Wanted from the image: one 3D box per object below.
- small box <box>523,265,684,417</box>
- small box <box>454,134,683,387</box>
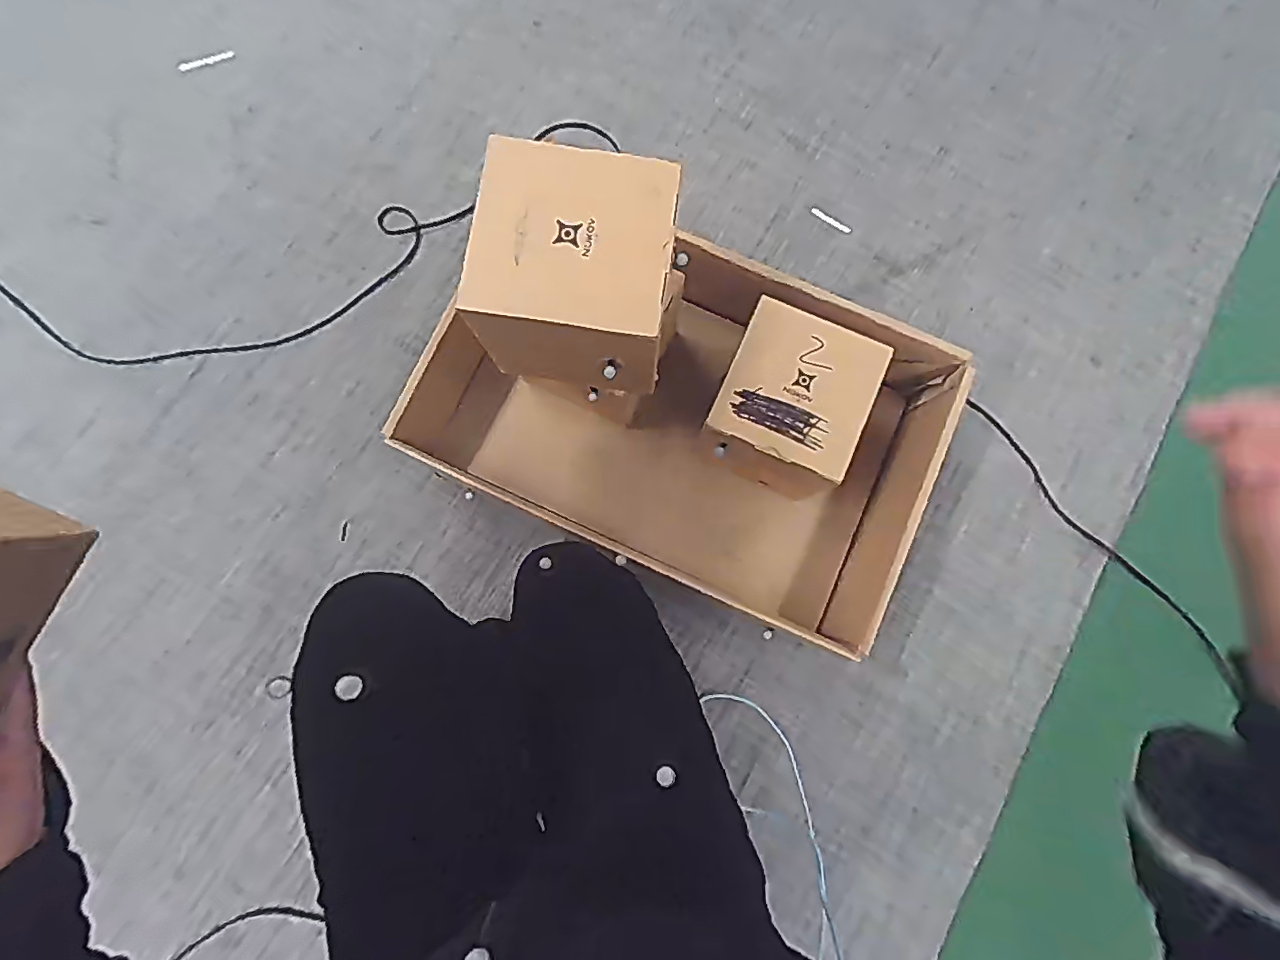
[{"bbox_3d":[-0.062,-0.199,0.707,0.179,0.176,0.168,25,84,2],"label":"small box"},{"bbox_3d":[-0.060,-0.201,0.543,0.179,0.176,0.168,9,83,1],"label":"small box"}]
